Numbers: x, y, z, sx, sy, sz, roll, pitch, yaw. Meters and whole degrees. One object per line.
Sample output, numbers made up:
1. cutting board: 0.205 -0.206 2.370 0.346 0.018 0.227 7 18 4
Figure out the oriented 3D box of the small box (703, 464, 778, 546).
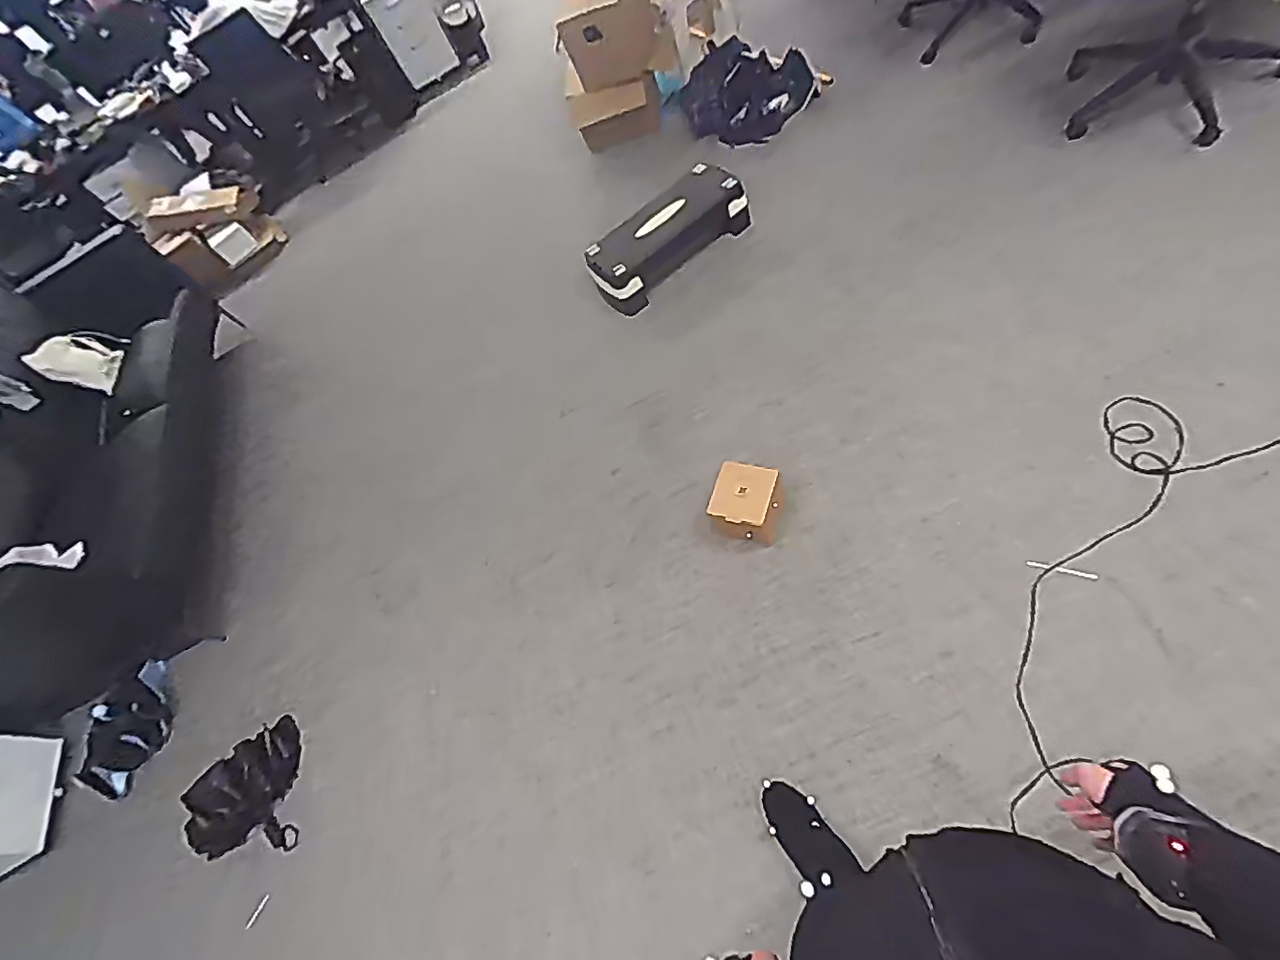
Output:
1. small box: 0.305 0.077 1.600 0.168 0.176 0.179 12 66 25
